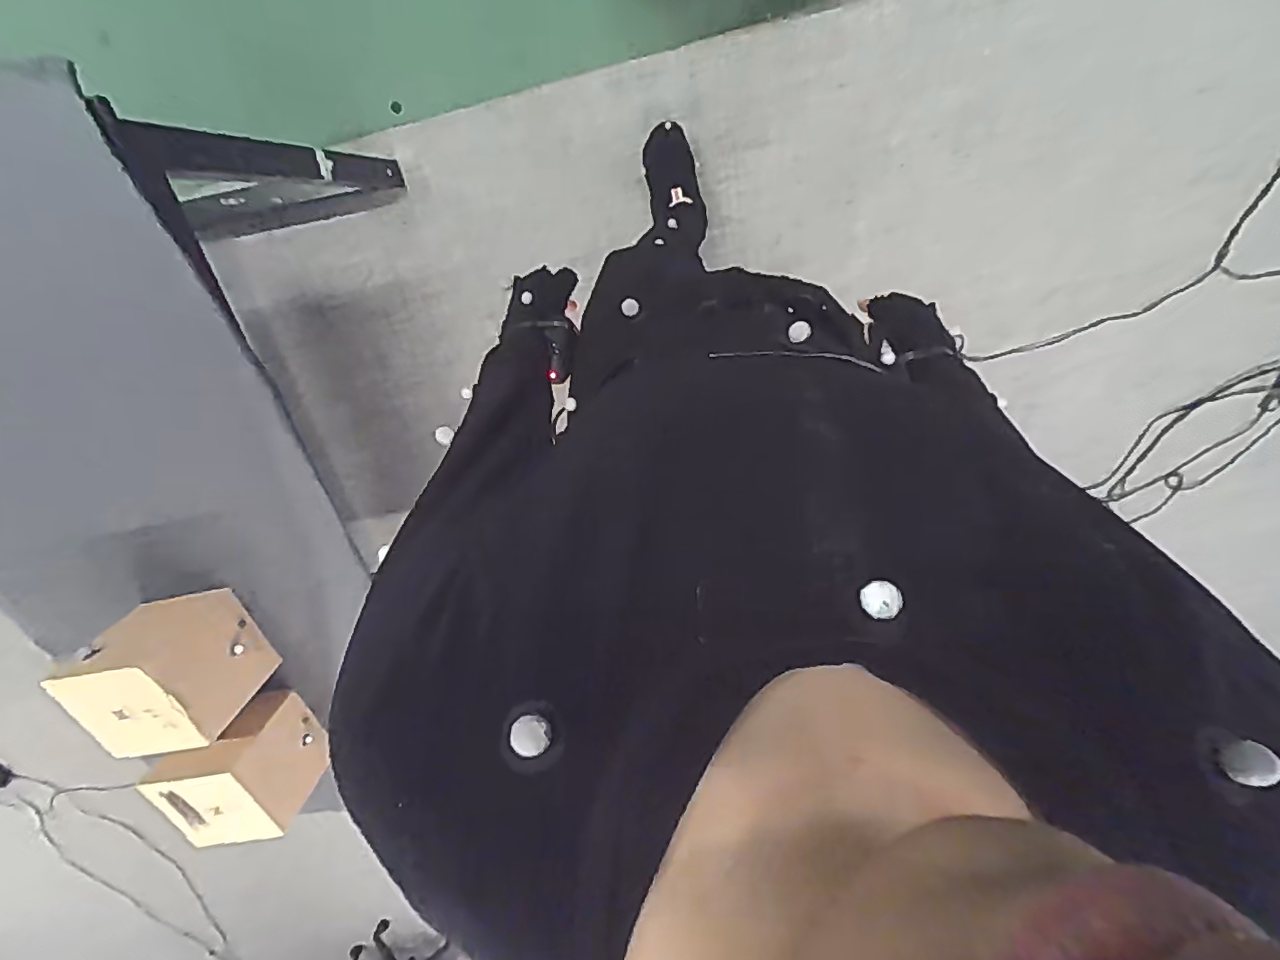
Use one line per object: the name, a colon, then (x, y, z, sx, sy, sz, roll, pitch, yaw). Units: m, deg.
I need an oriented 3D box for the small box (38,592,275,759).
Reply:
small box: (-0.725, 0.297, 0.836, 0.179, 0.176, 0.168, -11, 116, 9)
